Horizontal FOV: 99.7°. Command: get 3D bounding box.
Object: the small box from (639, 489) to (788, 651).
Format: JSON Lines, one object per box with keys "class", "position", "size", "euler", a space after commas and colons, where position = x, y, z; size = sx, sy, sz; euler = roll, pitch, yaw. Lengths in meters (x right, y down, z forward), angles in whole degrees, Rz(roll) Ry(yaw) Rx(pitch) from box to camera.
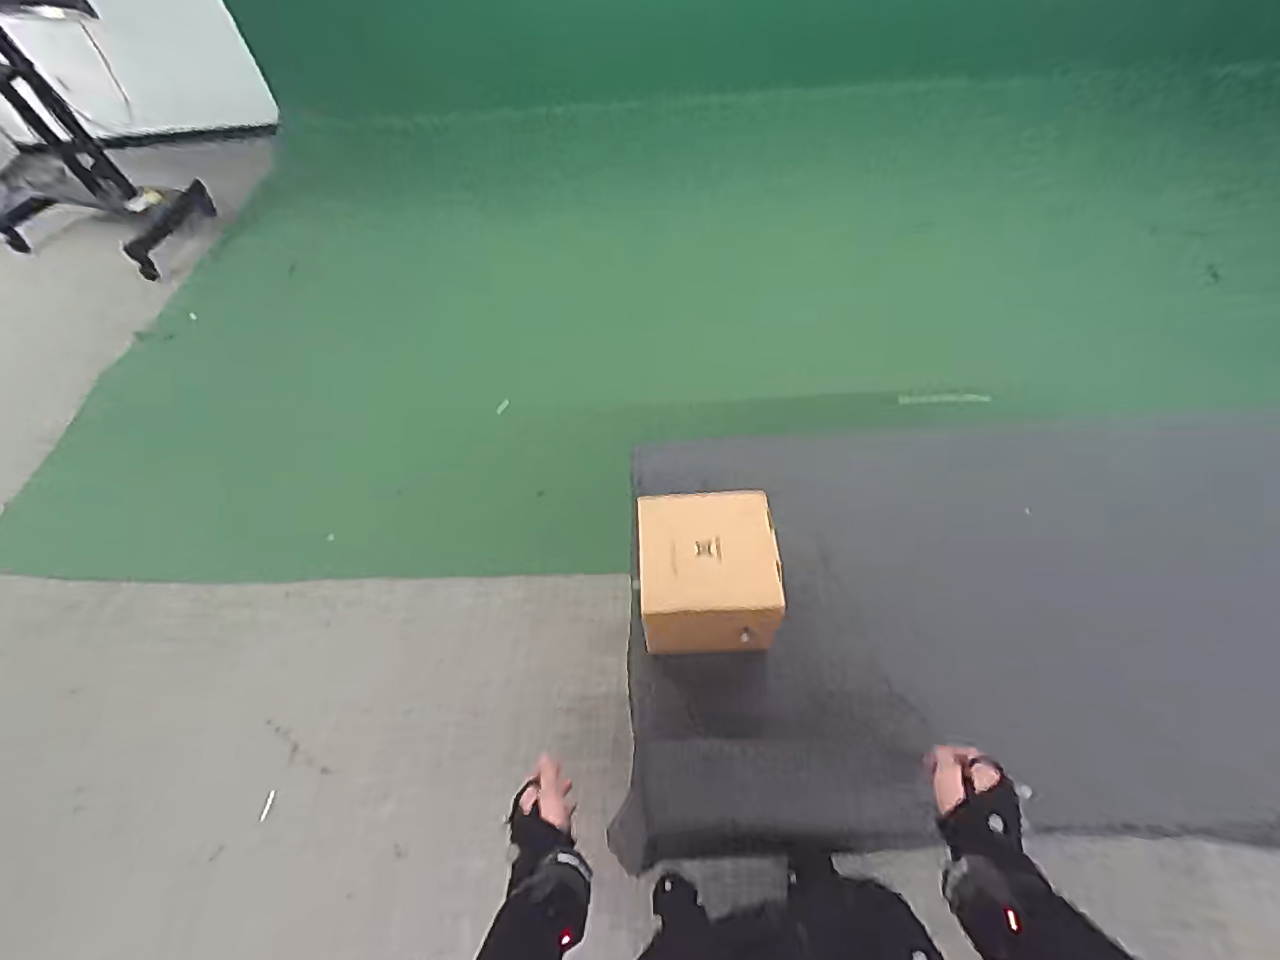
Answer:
{"class": "small box", "position": [0.090, 0.128, 0.745], "size": [0.179, 0.176, 0.168], "euler": [-3, 54, 2]}
